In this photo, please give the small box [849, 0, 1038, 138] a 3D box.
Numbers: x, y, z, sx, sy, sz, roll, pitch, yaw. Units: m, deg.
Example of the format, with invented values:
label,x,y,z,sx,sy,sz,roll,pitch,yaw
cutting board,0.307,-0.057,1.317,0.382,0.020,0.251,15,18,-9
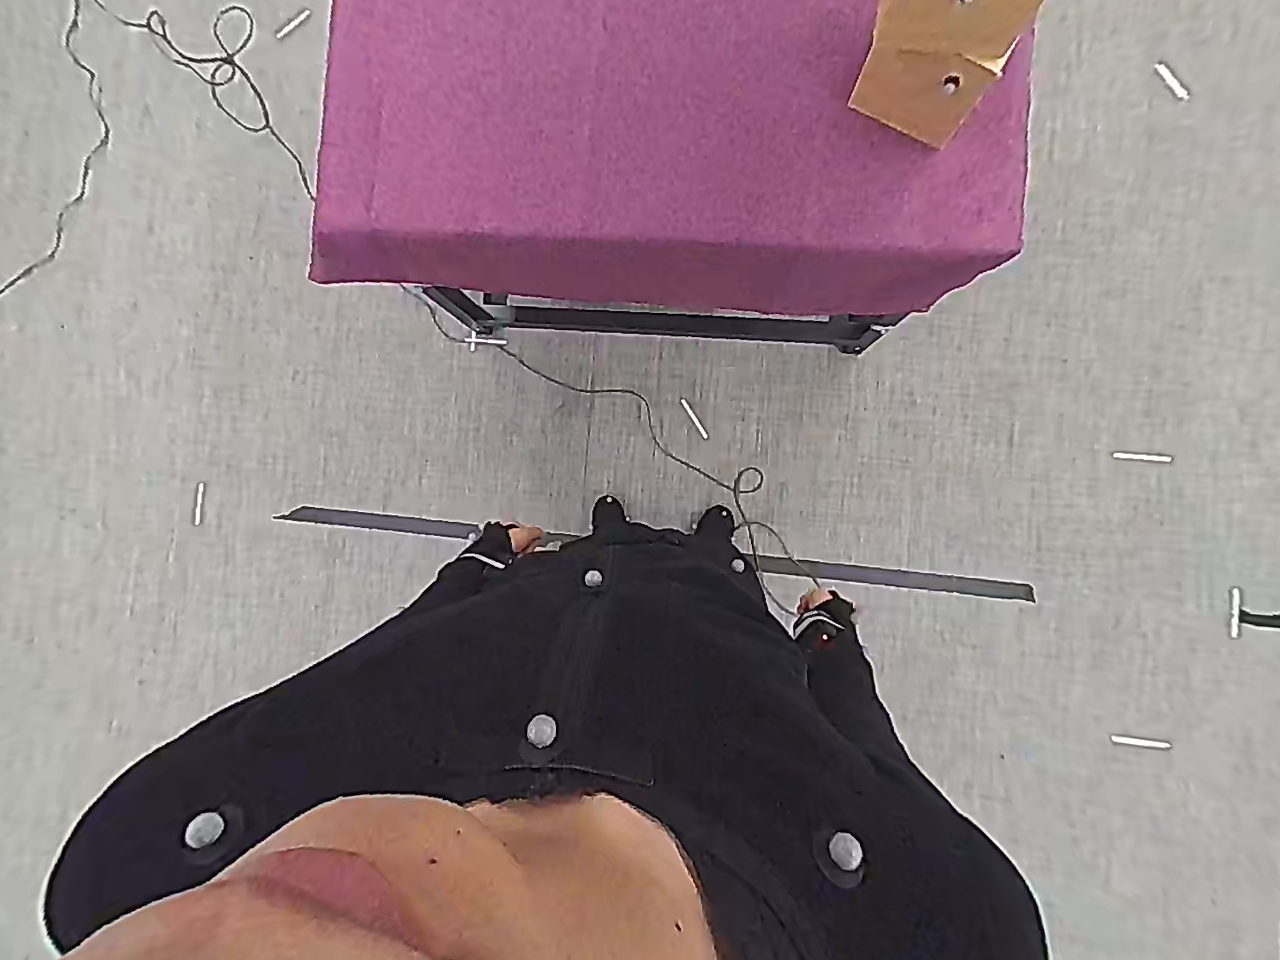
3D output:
label,x,y,z,sx,sy,sz,roll,pitch,yaw
small box,0.451,-0.661,0.813,0.179,0.176,0.168,30,91,5
